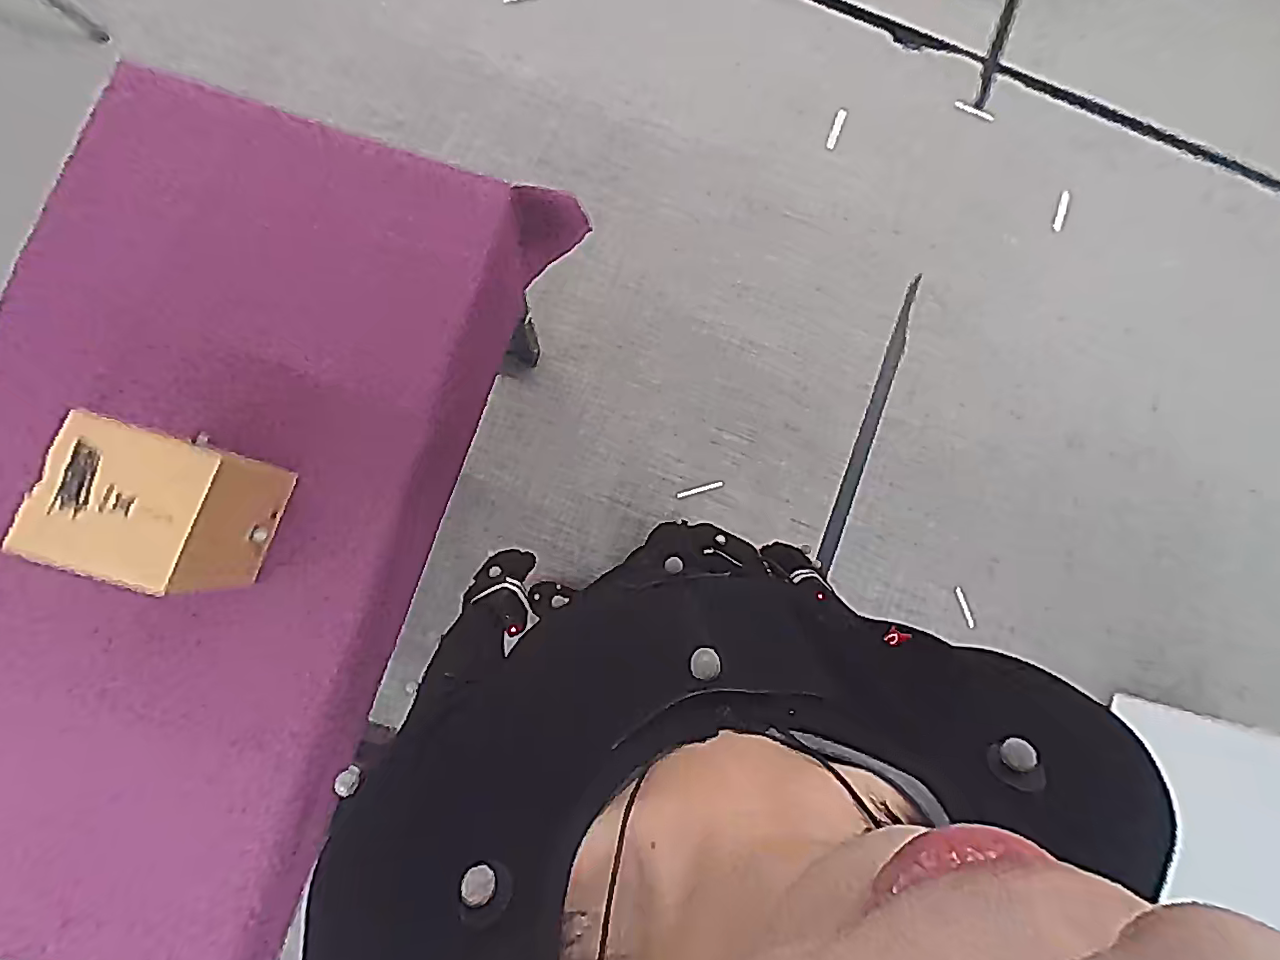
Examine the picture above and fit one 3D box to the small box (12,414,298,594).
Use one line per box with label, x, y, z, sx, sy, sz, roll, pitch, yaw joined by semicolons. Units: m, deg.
small box;-0.586;0.037;0.682;0.179;0.176;0.168;18;82;-3
